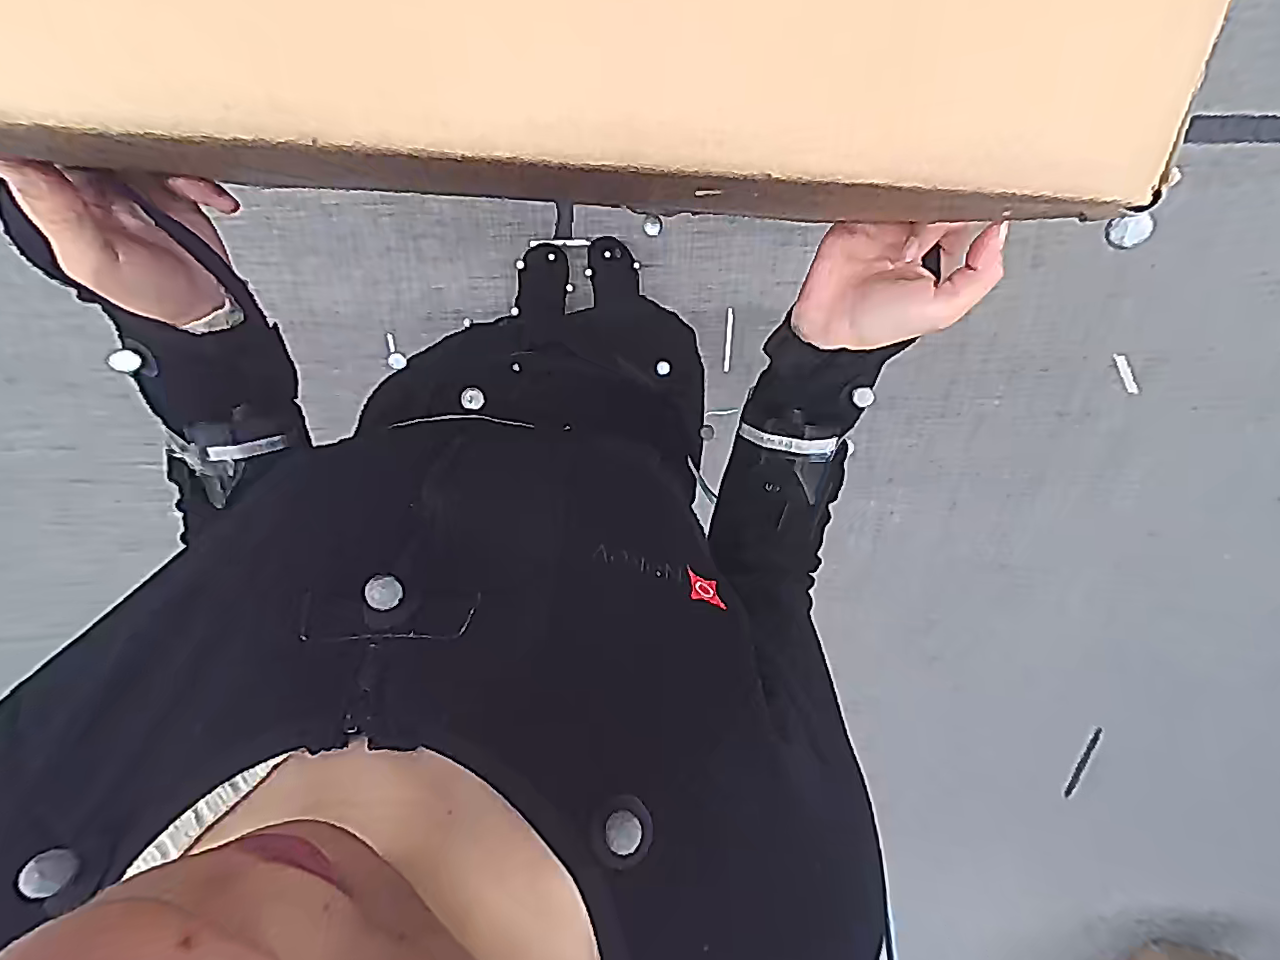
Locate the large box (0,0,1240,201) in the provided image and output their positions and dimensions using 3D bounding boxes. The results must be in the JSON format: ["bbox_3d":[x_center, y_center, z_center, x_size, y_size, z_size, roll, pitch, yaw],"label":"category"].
[{"bbox_3d":[-0.045,-0.298,0.209,0.408,0.320,0.320,0,117,-6],"label":"large box"}]
